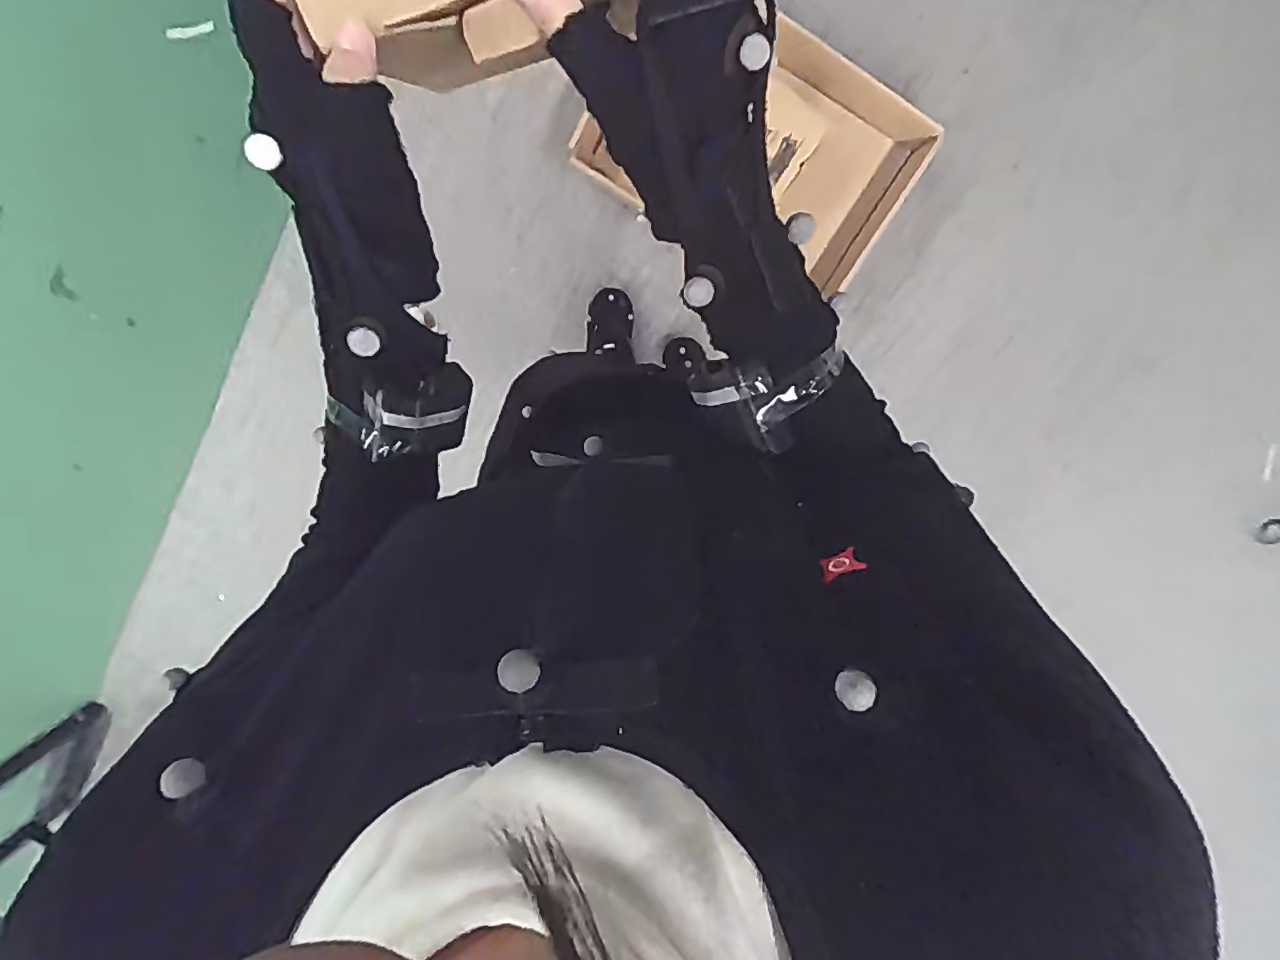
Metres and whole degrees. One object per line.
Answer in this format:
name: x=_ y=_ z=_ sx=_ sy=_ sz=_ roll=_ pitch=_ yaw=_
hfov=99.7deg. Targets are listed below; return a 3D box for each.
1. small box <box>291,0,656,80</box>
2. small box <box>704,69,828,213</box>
small box: x=-0.084 y=-0.314 z=0.253 sx=0.168 sy=0.176 sz=0.179 roll=-13 pitch=120 yaw=6
small box: x=0.248 y=-0.676 z=1.107 sx=0.179 sy=0.176 sz=0.168 roll=38 pitch=106 yaw=-5
